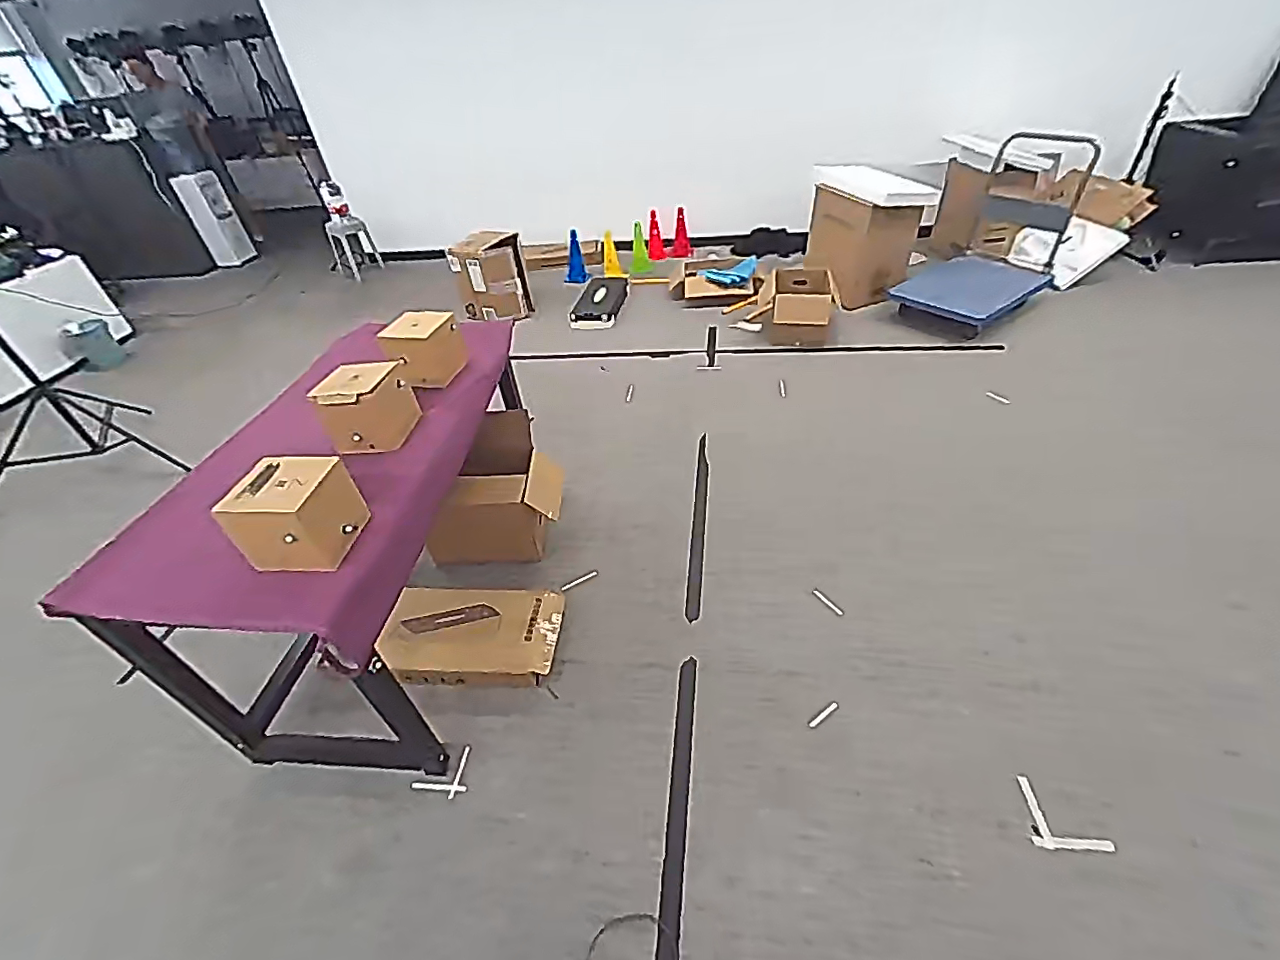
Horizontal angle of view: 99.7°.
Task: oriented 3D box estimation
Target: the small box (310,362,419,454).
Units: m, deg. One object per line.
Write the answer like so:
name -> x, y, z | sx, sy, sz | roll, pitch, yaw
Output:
small box -> -0.698, -0.186, 1.398 | 0.168, 0.176, 0.179 | -3, 40, 8

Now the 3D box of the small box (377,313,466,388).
small box -> -0.650, -0.391, 1.636 | 0.168, 0.176, 0.179 | 4, 41, 12
